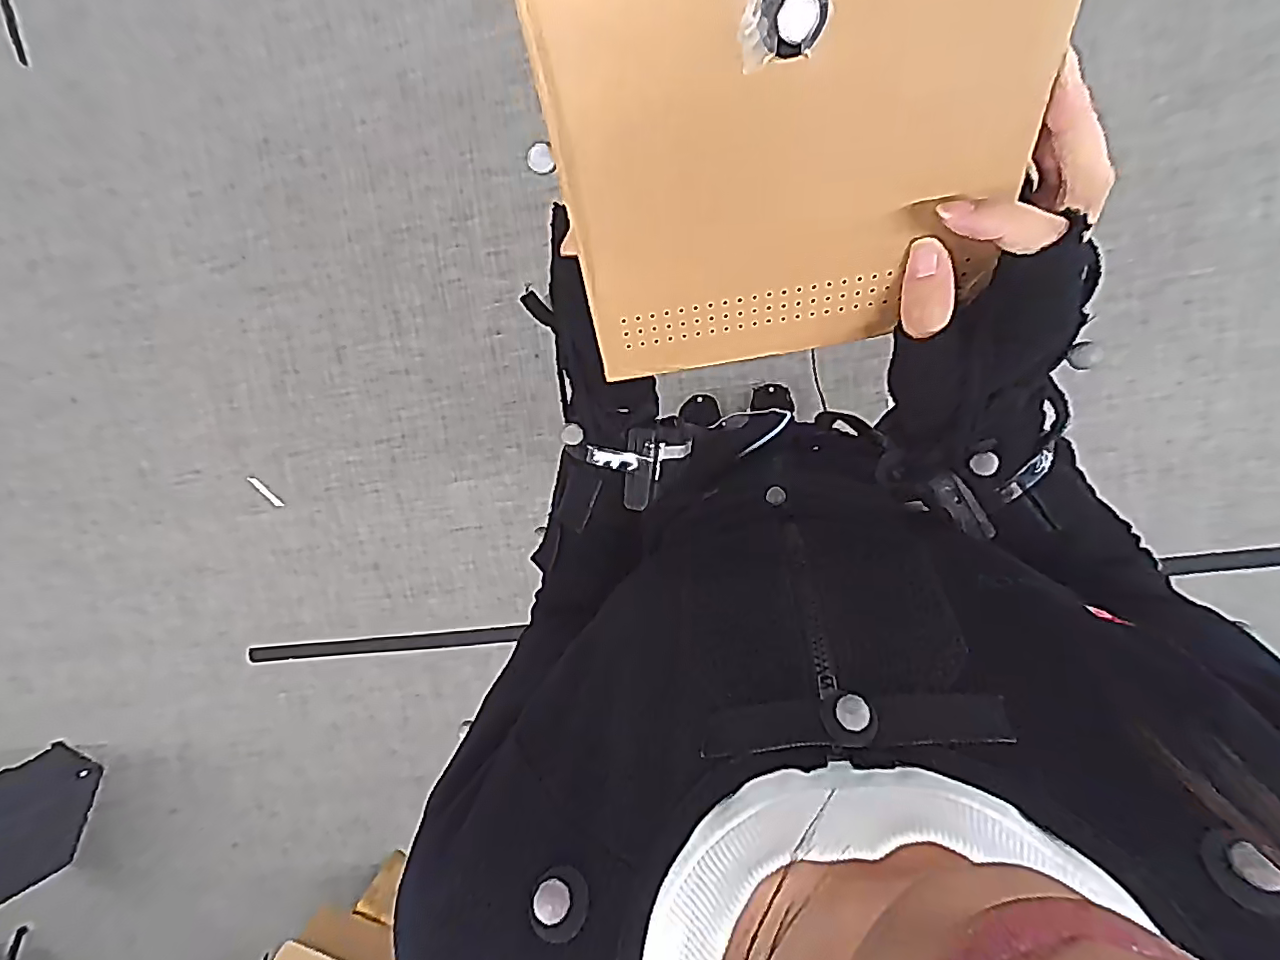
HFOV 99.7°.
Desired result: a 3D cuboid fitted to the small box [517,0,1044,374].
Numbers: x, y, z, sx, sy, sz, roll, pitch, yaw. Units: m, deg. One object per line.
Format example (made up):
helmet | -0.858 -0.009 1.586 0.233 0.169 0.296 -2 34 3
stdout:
small box | 0.054 -0.168 0.258 0.179 0.168 0.176 -8 136 4
